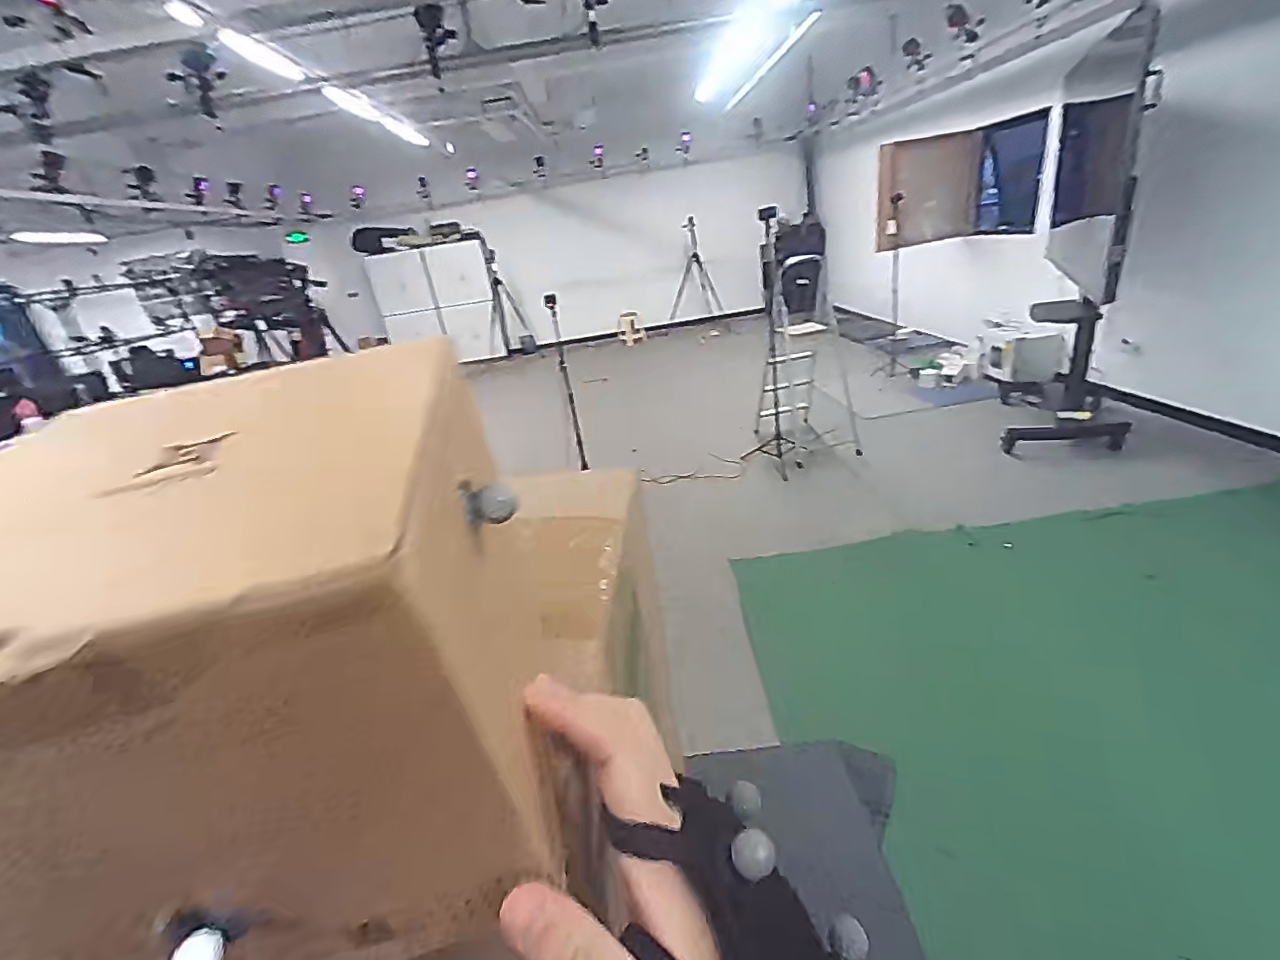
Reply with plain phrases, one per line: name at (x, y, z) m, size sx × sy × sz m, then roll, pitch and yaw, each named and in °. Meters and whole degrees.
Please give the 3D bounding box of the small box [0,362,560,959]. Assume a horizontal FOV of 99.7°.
small box at (-0.135, 0.076, 0.211) m, size 0.168 × 0.176 × 0.179 m, roll -14°, pitch 35°, yaw -7°
